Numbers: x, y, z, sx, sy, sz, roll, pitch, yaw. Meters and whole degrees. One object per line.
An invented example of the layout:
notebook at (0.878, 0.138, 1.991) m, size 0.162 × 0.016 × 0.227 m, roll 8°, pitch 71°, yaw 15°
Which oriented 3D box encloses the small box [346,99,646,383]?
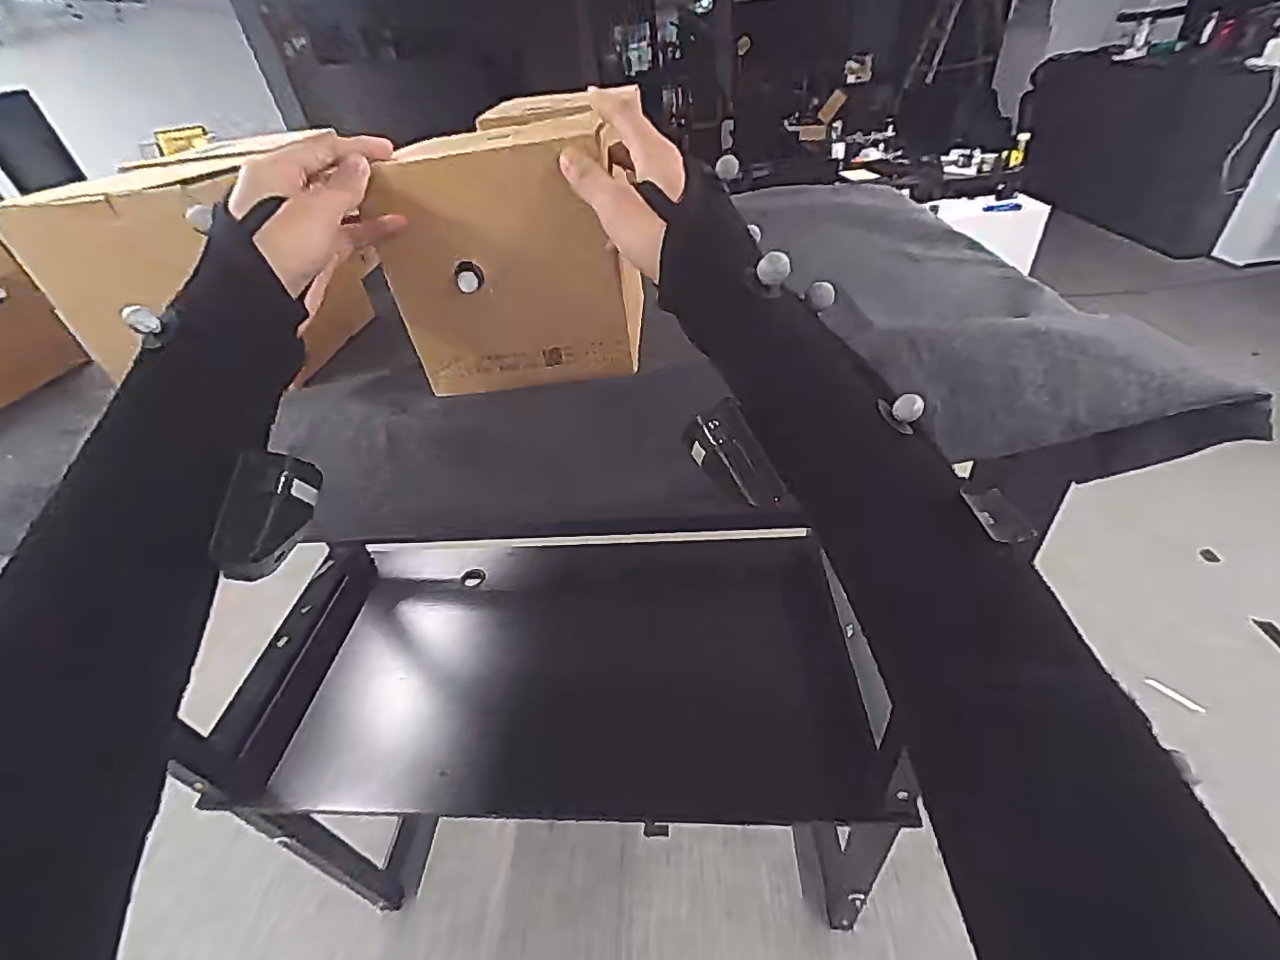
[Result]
small box at (-0.086, -0.187, 0.434) m, size 0.168 × 0.176 × 0.179 m, roll -5°, pitch 37°, yaw 6°

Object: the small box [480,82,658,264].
small box at (-0.070, -0.363, 0.651) m, size 0.168 × 0.176 × 0.179 m, roll -4°, pitch 39°, yaw 6°

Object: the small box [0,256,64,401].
small box at (-0.695, -0.138, 0.481) m, size 0.168 × 0.176 × 0.179 m, roll -5°, pitch 38°, yaw 4°
